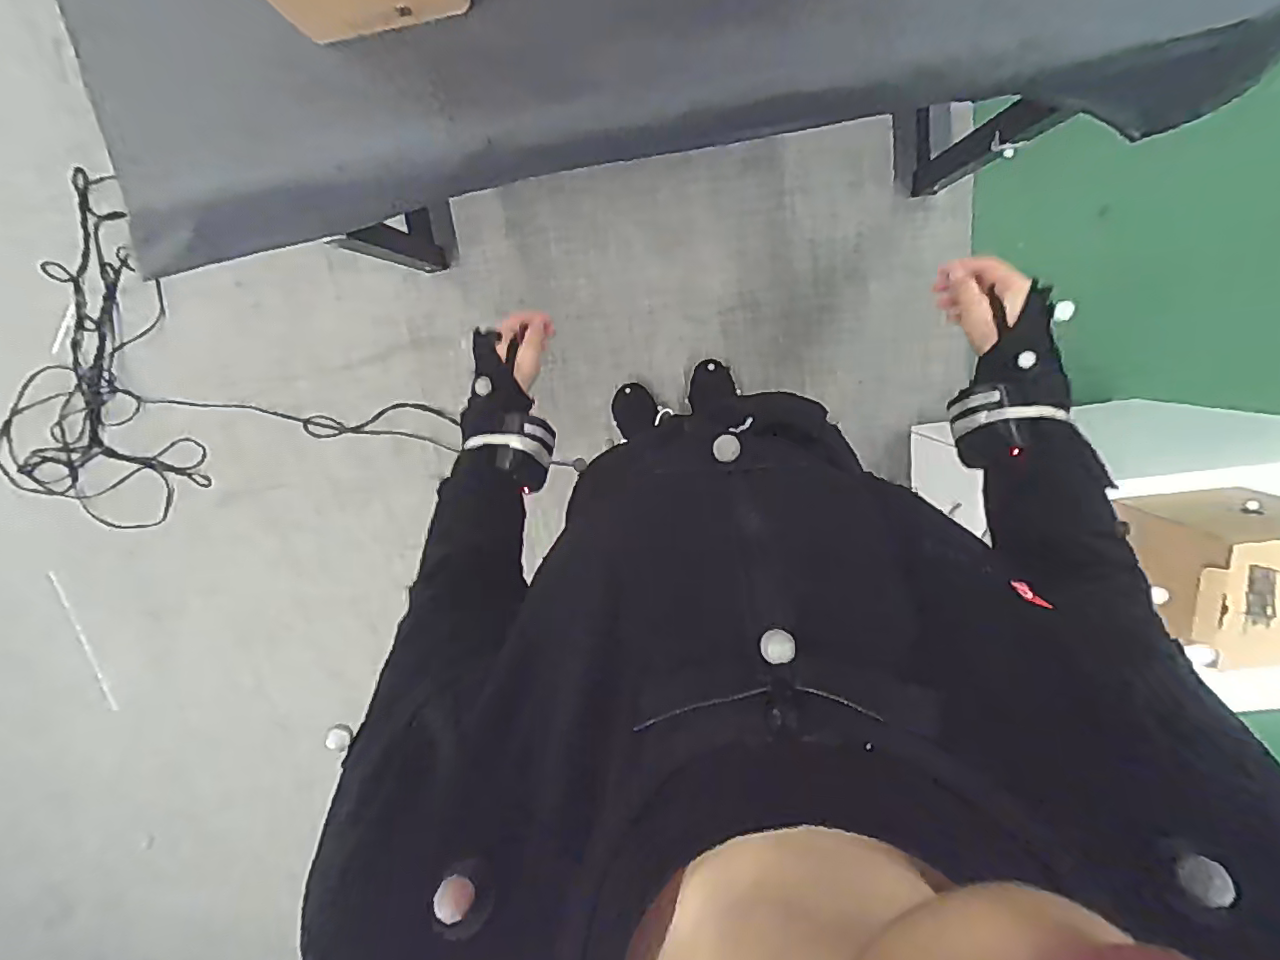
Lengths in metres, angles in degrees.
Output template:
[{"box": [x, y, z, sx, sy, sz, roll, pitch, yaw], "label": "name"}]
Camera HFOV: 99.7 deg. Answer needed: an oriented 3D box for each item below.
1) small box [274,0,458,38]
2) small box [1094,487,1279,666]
[{"box": [-0.265, -0.509, 0.431, 0.168, 0.176, 0.179, -8, 103, 4], "label": "small box"}, {"box": [0.736, 0.114, 0.694, 0.179, 0.176, 0.168, -7, 104, 2], "label": "small box"}]
